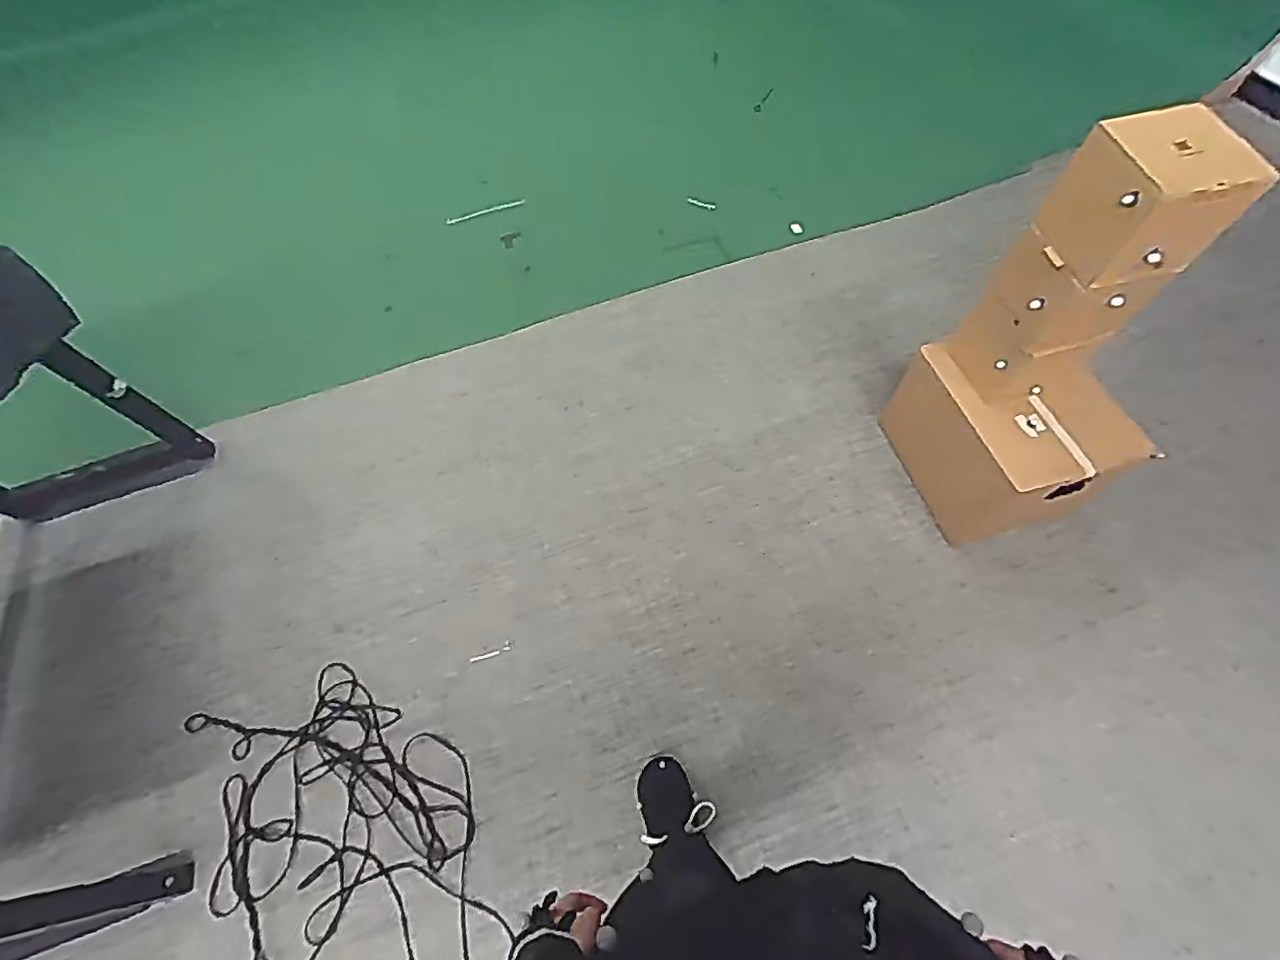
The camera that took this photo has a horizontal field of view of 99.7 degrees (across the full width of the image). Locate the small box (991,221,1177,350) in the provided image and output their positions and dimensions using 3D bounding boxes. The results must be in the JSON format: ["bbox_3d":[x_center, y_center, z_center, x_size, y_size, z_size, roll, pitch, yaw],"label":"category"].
[{"bbox_3d":[0.784,-0.360,0.985,0.179,0.176,0.168,-12,64,-3],"label":"small box"}]

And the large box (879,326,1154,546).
[{"bbox_3d":[0.855,-0.108,1.307,0.320,0.320,0.408,-16,63,-3],"label":"large box"}]

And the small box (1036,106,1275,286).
[{"bbox_3d":[0.774,-0.435,0.840,0.168,0.176,0.179,-11,64,-2],"label":"small box"}]
